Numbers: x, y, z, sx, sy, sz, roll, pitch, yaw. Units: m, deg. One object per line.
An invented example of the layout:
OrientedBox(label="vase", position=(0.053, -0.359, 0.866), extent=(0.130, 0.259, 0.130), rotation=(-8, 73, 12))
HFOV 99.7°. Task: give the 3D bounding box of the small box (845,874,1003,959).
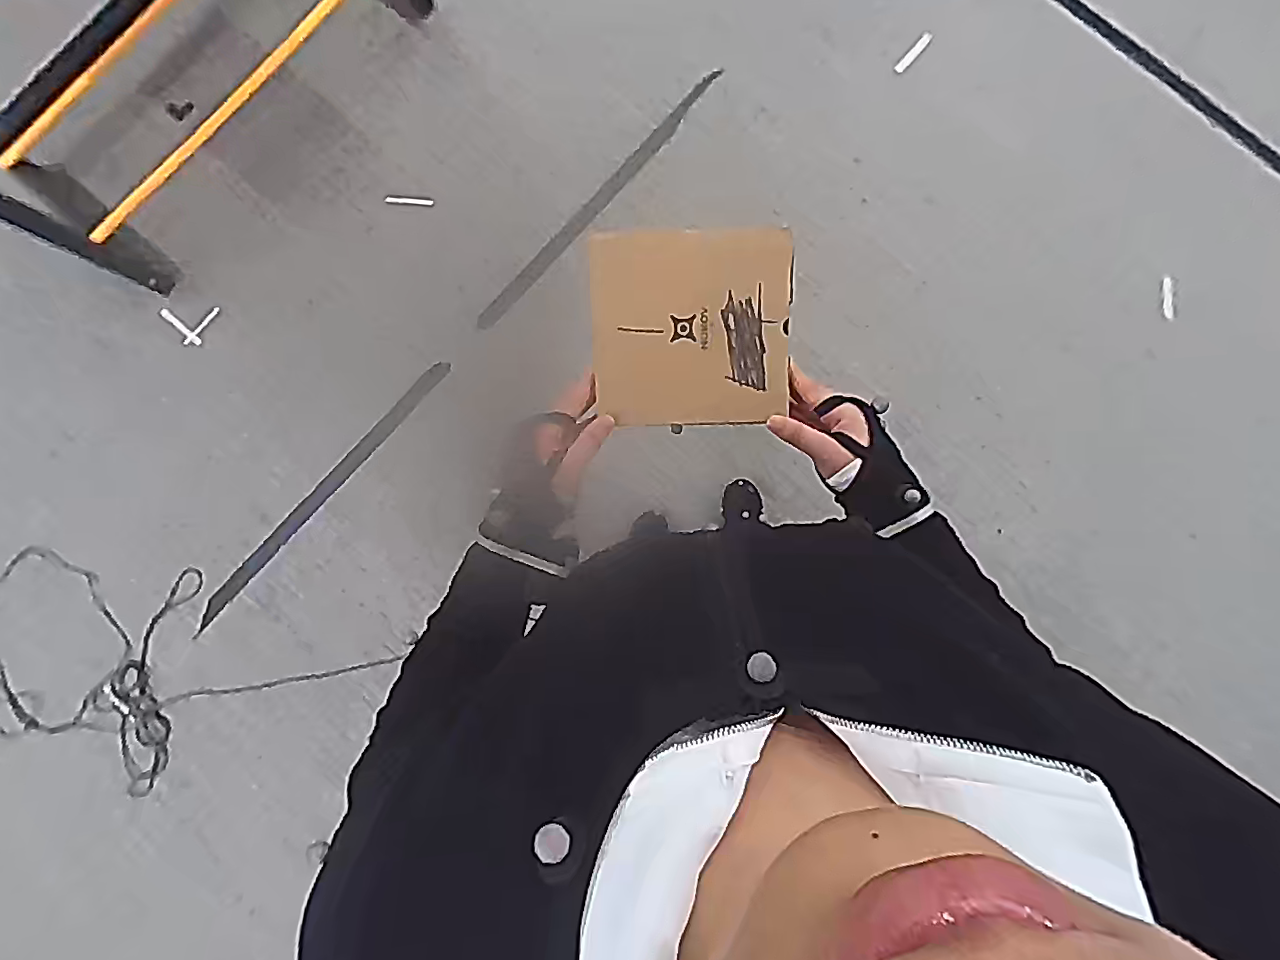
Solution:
OrientedBox(label="small box", position=(0.427, 0.718, 0.760), extent=(0.179, 0.176, 0.168), rotation=(43, 90, 4))

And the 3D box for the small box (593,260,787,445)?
OrientedBox(label="small box", position=(0.044, -0.130, 0.571), extent=(0.179, 0.176, 0.168), rotation=(-2, 101, 0))

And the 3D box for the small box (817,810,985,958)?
OrientedBox(label="small box", position=(0.427, 0.722, 0.924), extent=(0.168, 0.176, 0.179), rotation=(40, 89, 4))
